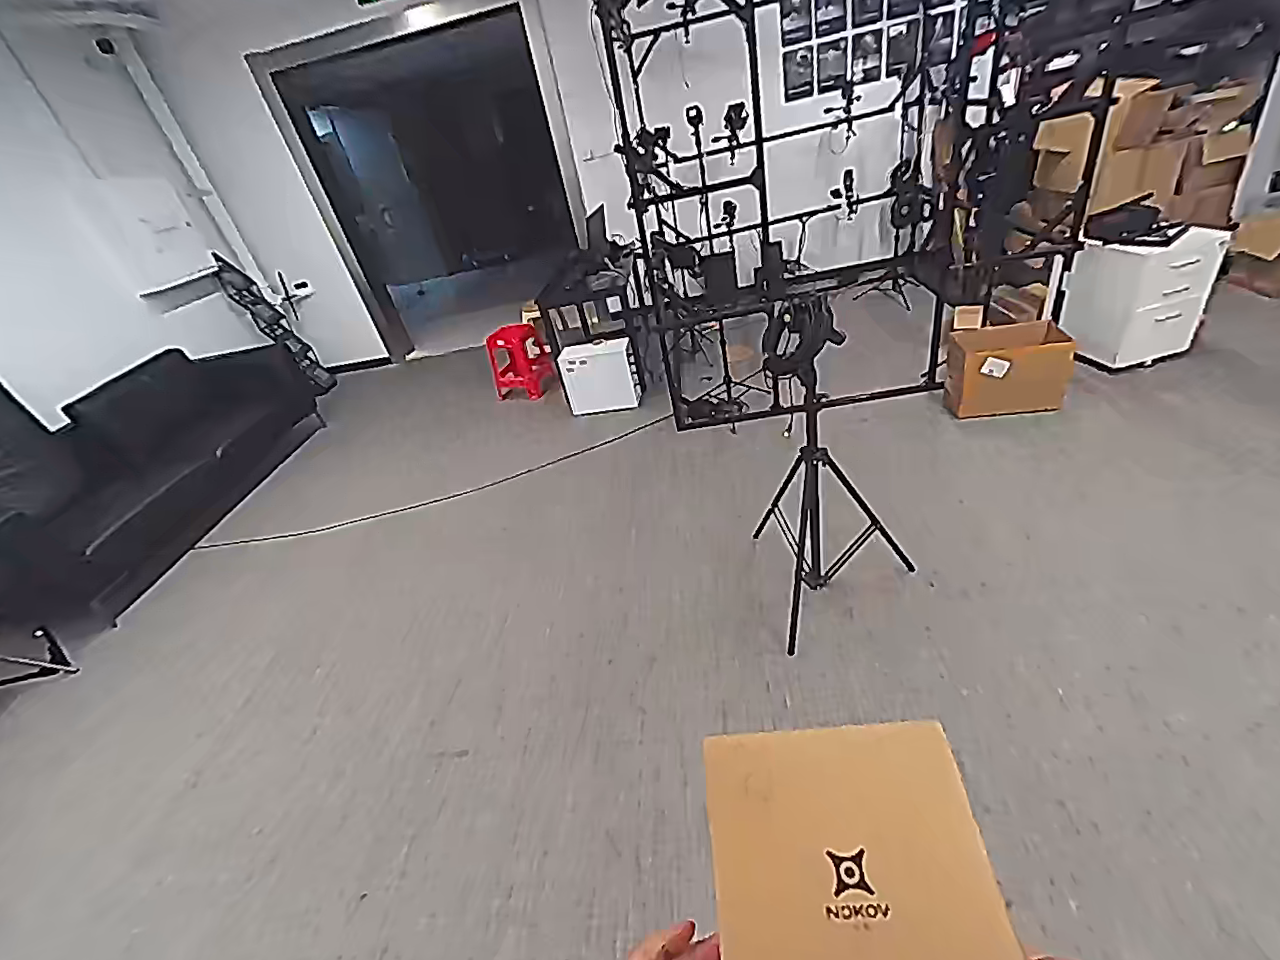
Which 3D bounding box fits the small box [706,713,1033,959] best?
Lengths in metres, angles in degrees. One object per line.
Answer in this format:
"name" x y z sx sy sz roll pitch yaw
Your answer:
"small box" 0.139 0.283 0.382 0.168 0.176 0.179 -7 51 6
